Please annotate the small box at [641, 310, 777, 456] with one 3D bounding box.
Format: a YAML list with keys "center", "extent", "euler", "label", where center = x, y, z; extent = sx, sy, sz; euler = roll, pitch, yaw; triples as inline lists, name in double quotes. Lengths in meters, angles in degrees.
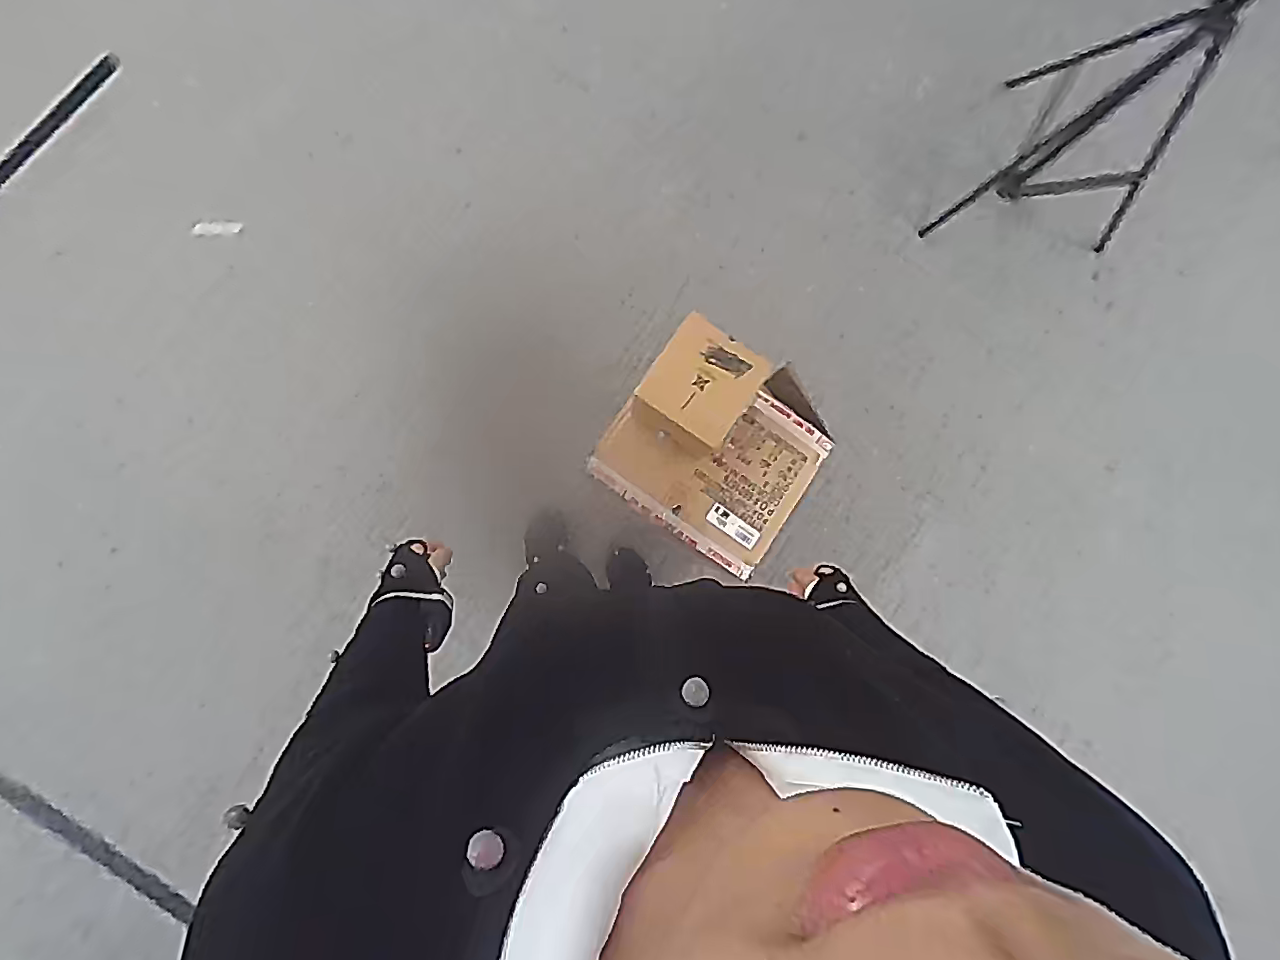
- center: [0.111, -0.162, 0.966]
  extent: [0.168, 0.176, 0.179]
  euler: [35, 87, 1]
  label: "small box"
